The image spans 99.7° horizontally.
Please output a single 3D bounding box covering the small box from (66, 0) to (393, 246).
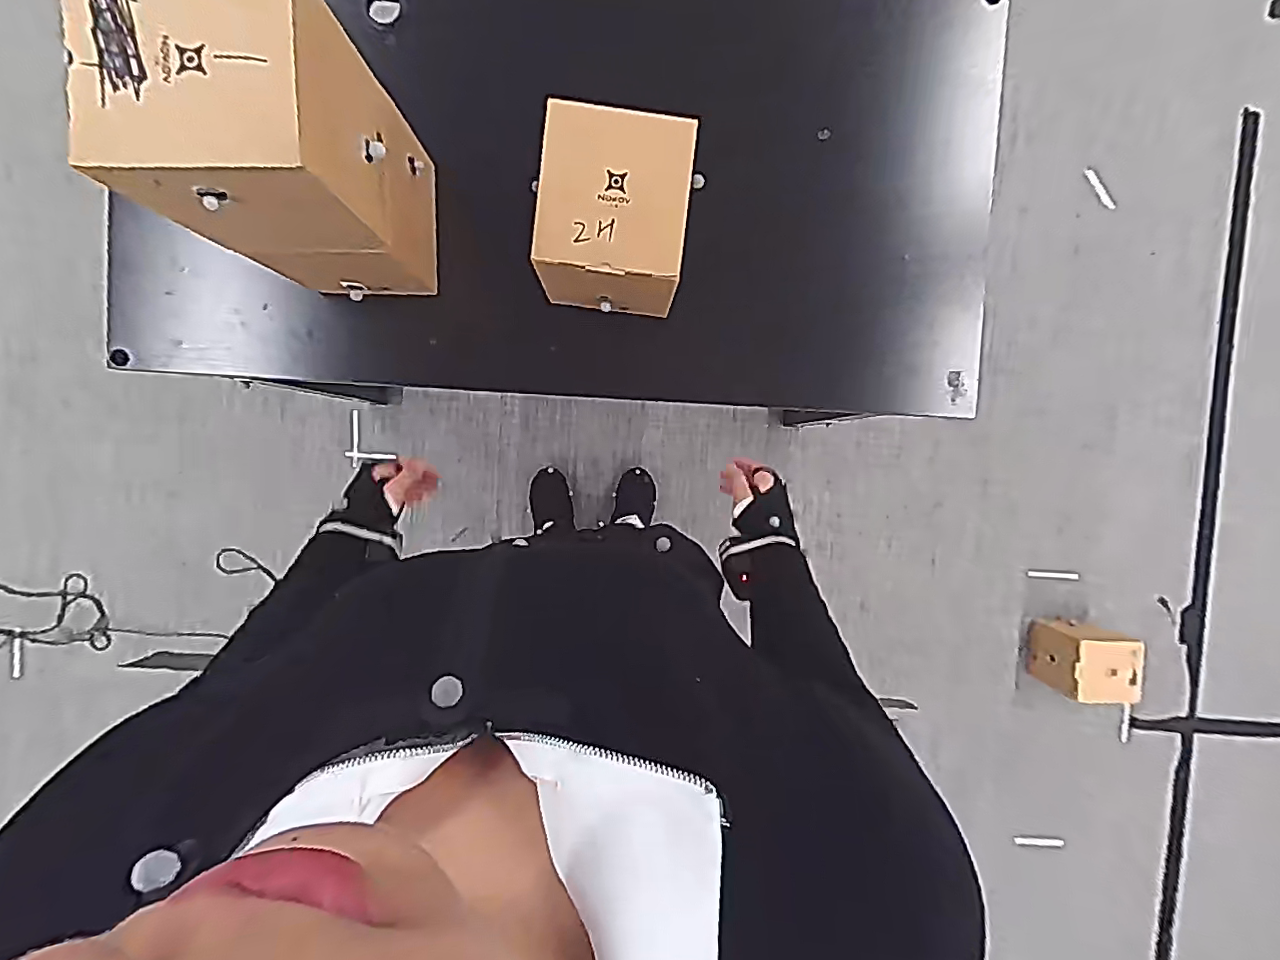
[{"bbox_3d":[-0.349,-0.325,0.491,0.179,0.176,0.168,-1,93,-2],"label":"small box"}]

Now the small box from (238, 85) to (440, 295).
[{"bbox_3d":[-0.353,-0.338,0.656,0.168,0.176,0.179,-1,94,-1],"label":"small box"}]

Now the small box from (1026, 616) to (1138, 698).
[{"bbox_3d":[1.213,0.484,1.497,0.179,0.176,0.168,3,93,-2],"label":"small box"}]

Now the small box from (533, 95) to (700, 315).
[{"bbox_3d":[-0.030,-0.322,0.668,0.168,0.176,0.179,7,93,-2],"label":"small box"}]
